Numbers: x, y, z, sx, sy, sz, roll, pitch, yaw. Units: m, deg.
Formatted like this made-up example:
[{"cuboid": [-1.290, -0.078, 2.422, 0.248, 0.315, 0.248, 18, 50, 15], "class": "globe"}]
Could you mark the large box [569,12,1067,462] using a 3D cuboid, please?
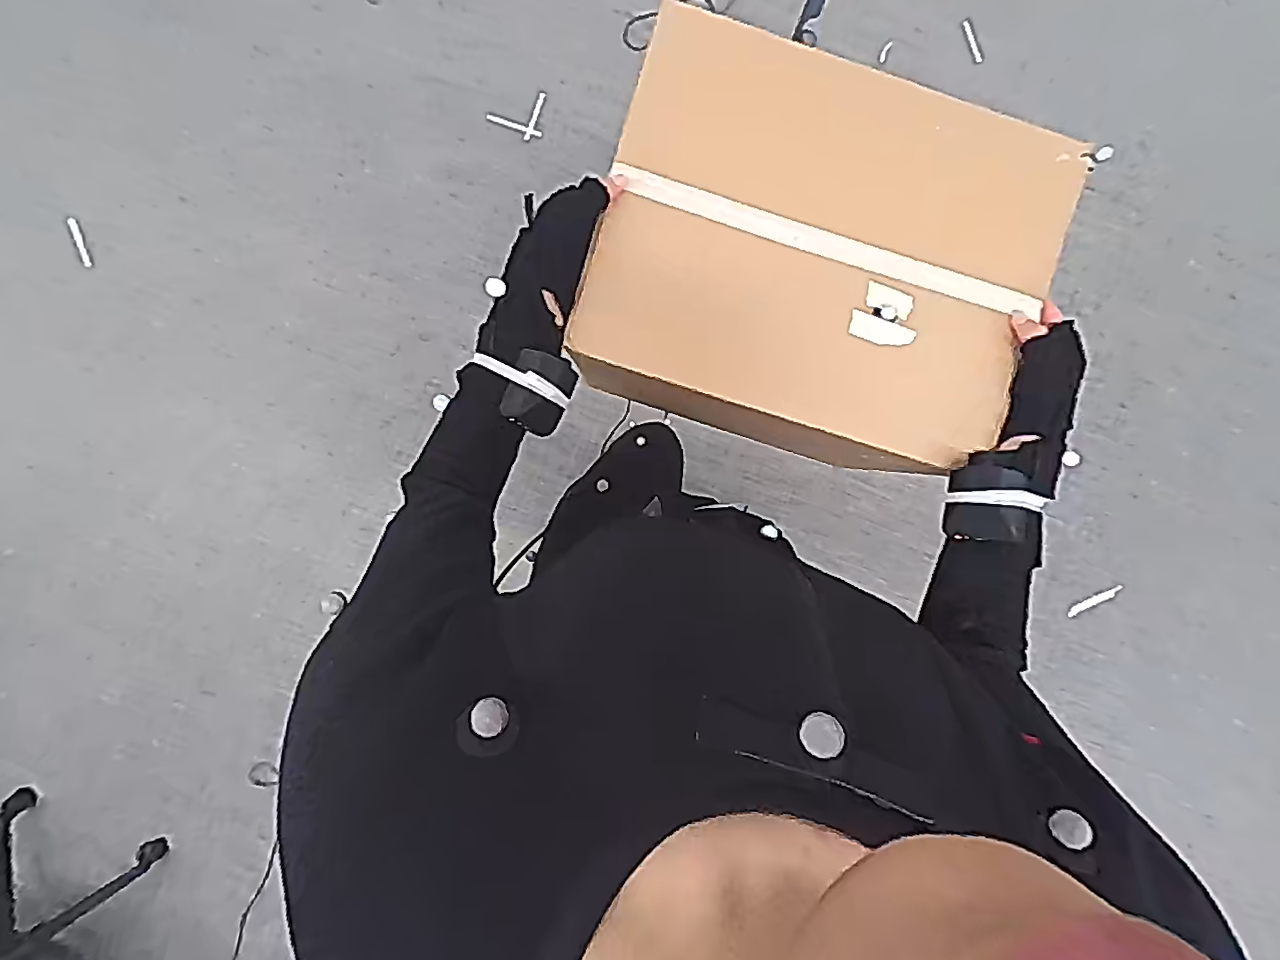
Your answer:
[{"cuboid": [0.158, -0.227, 0.645, 0.408, 0.320, 0.320, 17, 94, -3], "class": "large box"}]
